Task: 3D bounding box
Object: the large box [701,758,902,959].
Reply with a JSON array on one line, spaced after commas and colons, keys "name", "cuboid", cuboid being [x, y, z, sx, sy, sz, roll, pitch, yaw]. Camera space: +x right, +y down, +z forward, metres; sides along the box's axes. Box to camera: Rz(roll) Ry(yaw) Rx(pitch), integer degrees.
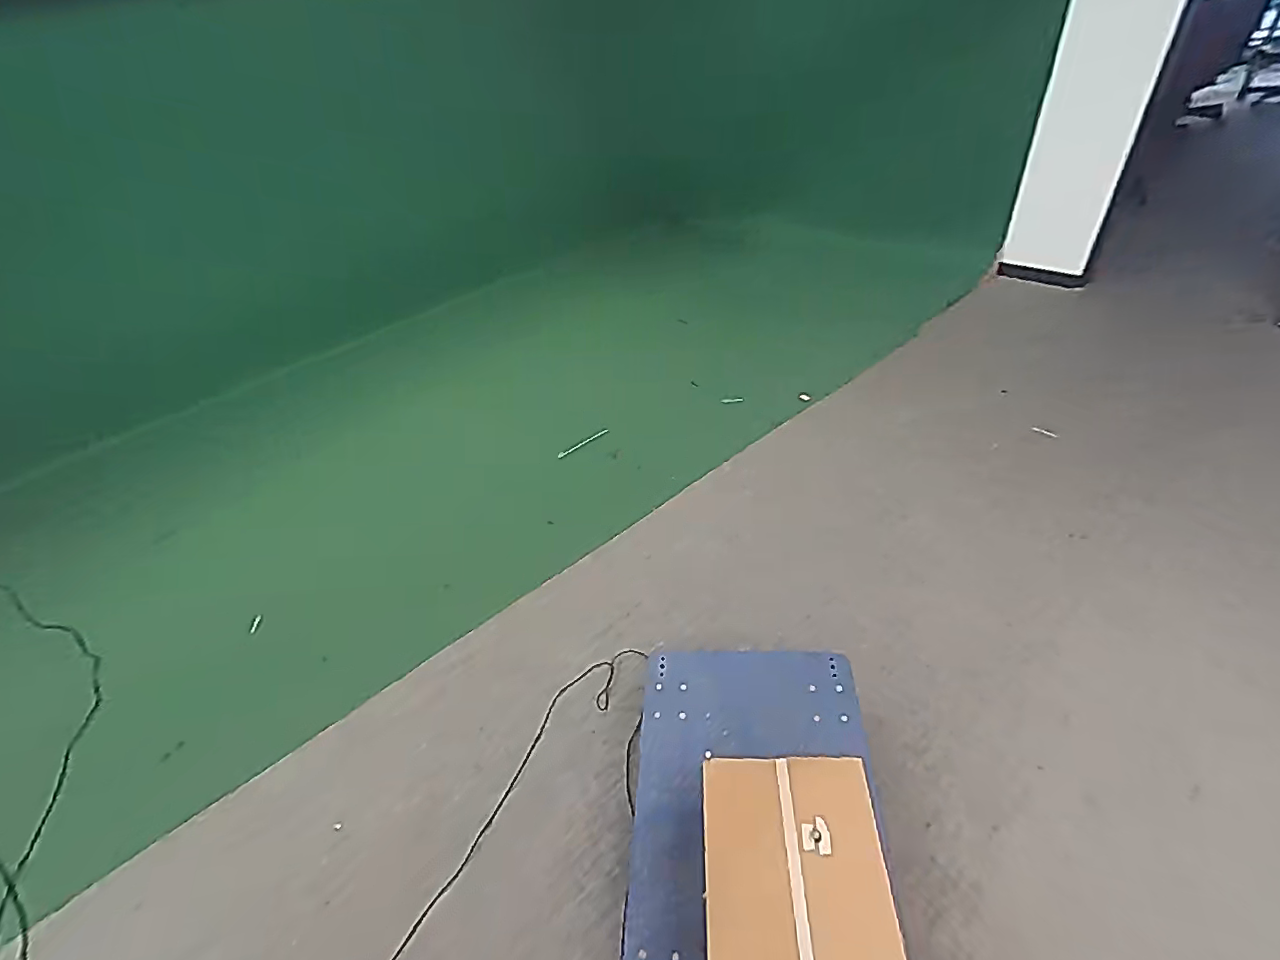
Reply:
[{"name": "large box", "cuboid": [0.294, 0.816, 1.061, 0.320, 0.320, 0.408, -4, 43, 8]}]
